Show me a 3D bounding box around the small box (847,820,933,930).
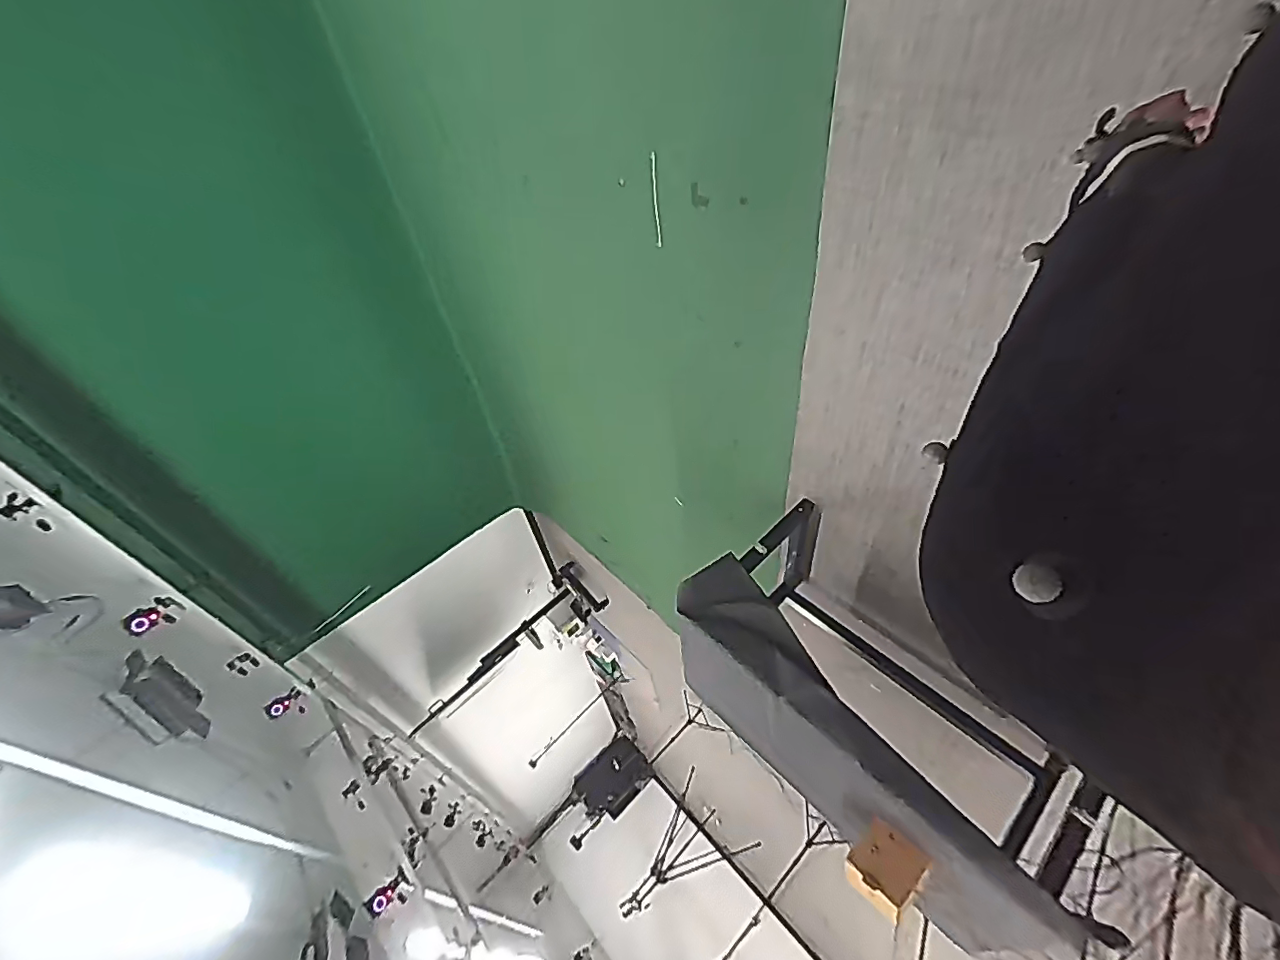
[{"bbox_3d":[0.713,1.121,1.545,0.168,0.176,0.179,29,148,45],"label":"small box"}]
